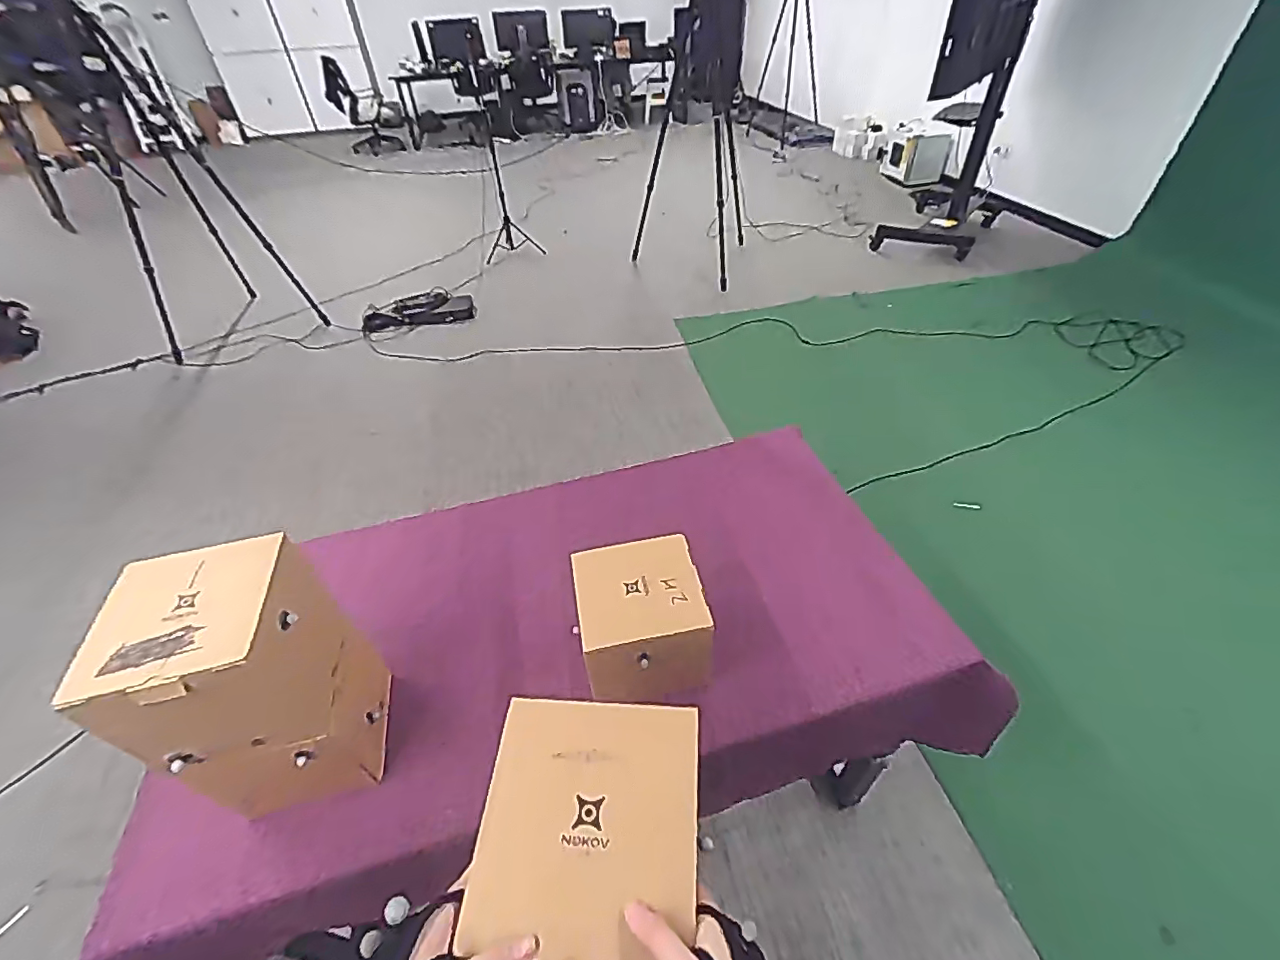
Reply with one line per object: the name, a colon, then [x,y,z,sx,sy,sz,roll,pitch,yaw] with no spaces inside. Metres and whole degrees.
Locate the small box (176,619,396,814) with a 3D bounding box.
small box: [-0.456,0.322,0.733,0.179,0.176,0.168,-12,43,-9]

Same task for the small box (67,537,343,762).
small box: [-0.468,0.199,0.624,0.168,0.176,0.179,-12,42,-9]

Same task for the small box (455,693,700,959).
small box: [-0.033,0.309,0.475,0.168,0.176,0.179,1,48,7]

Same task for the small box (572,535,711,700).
small box: [0.002,0.210,0.808,0.179,0.176,0.168,-9,44,-5]
